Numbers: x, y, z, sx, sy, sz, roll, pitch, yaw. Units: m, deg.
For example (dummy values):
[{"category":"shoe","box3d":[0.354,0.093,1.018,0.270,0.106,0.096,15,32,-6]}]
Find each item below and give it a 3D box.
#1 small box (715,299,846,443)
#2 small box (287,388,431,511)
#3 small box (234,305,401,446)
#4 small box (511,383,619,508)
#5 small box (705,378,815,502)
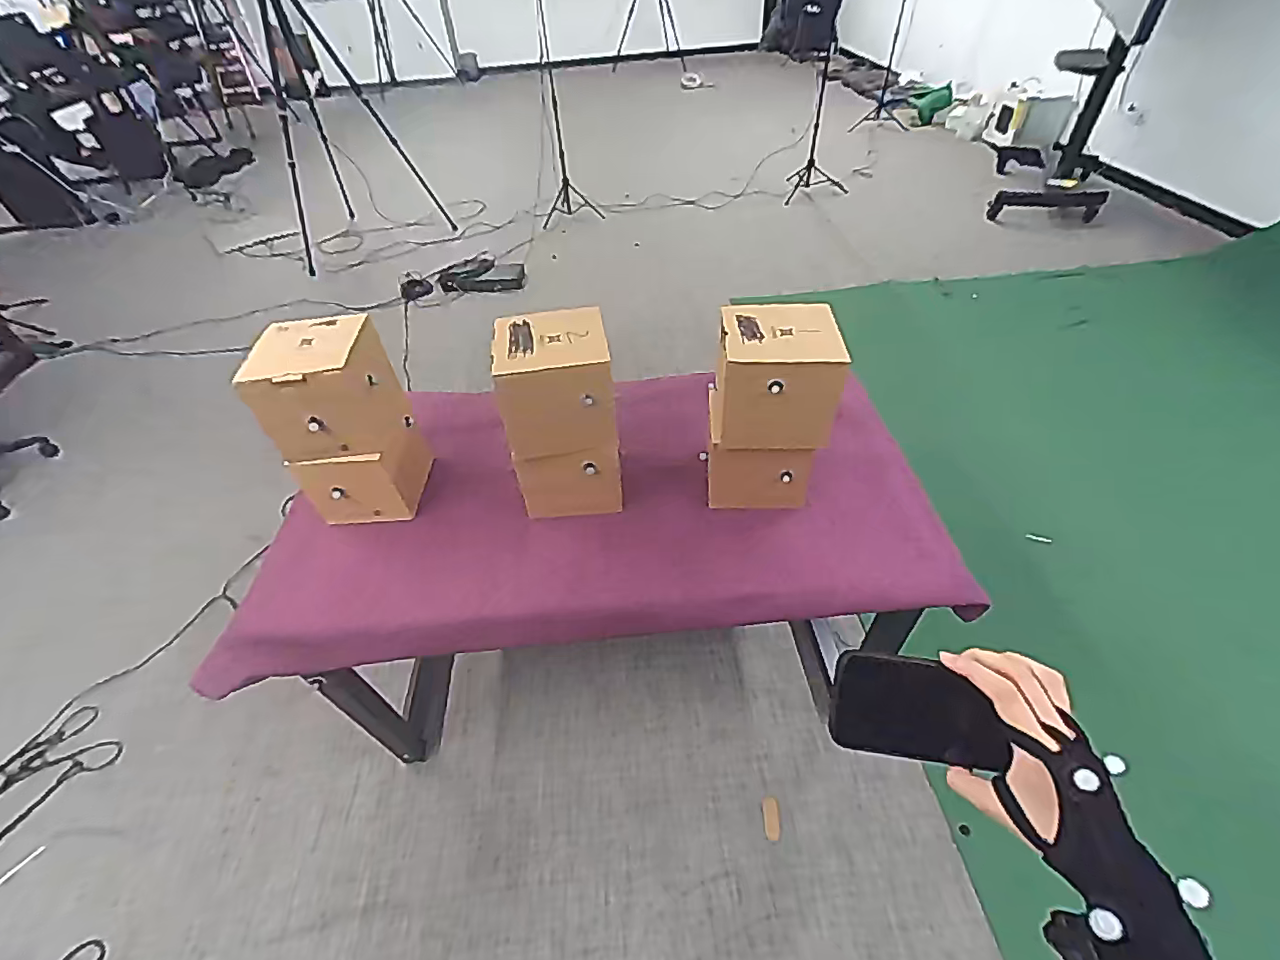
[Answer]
[{"category":"small box","box3d":[0.212,-0.173,0.872,0.179,0.176,0.168,1,47,4]},{"category":"small box","box3d":[-0.520,-0.053,1.033,0.168,0.176,0.179,-3,47,1]},{"category":"small box","box3d":[-0.529,-0.171,0.919,0.168,0.176,0.179,-6,47,-3]},{"category":"small box","box3d":[-0.129,-0.062,1.014,0.179,0.176,0.168,-4,47,1]},{"category":"small box","box3d":[0.211,-0.072,1.002,0.179,0.176,0.168,1,47,5]}]
